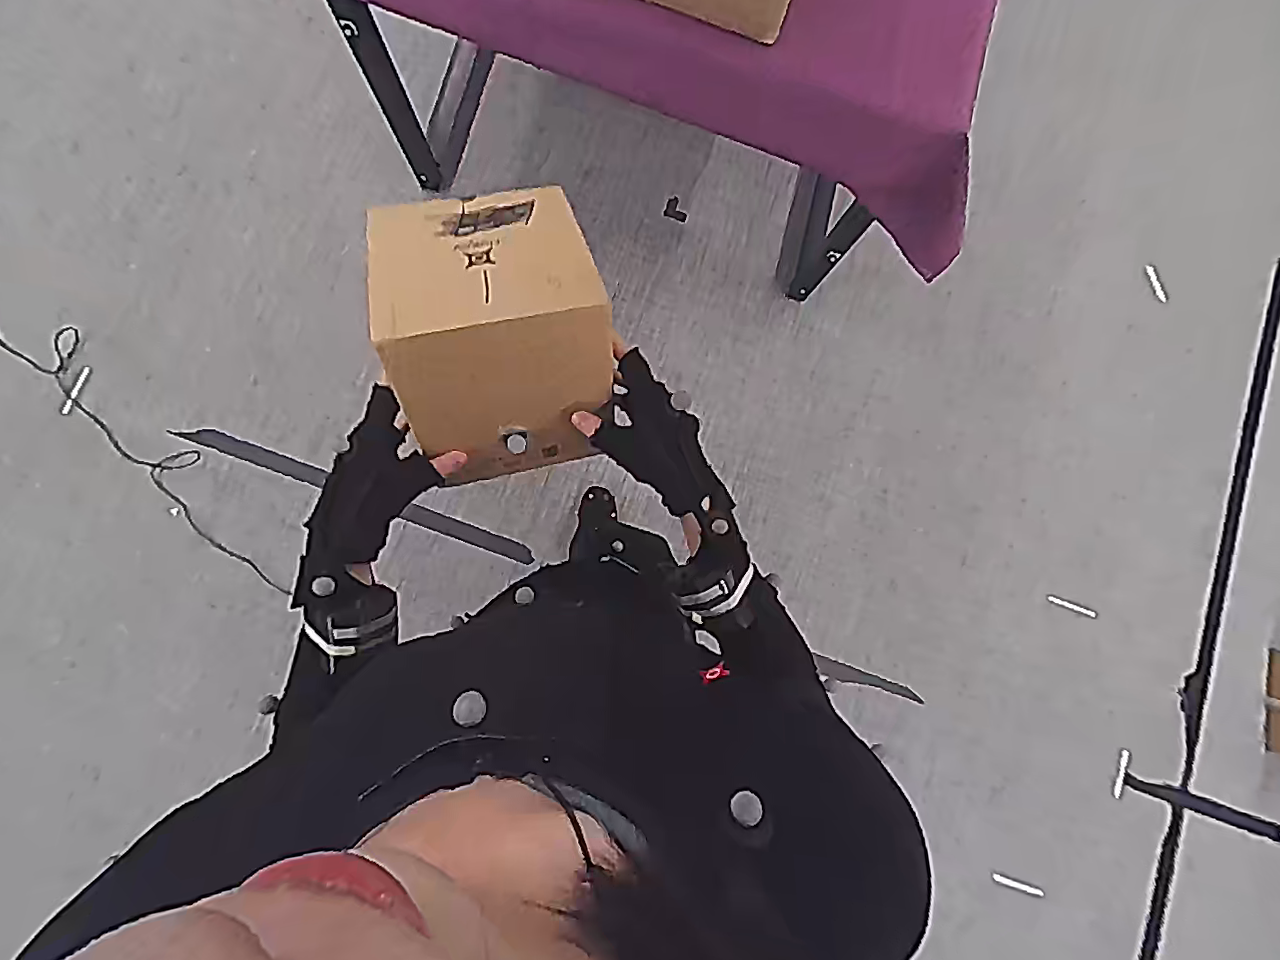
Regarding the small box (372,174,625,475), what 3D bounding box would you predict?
[{"bbox_3d":[-0.115,-0.132,0.464,0.168,0.176,0.179,-12,55,-11],"label":"small box"}]
